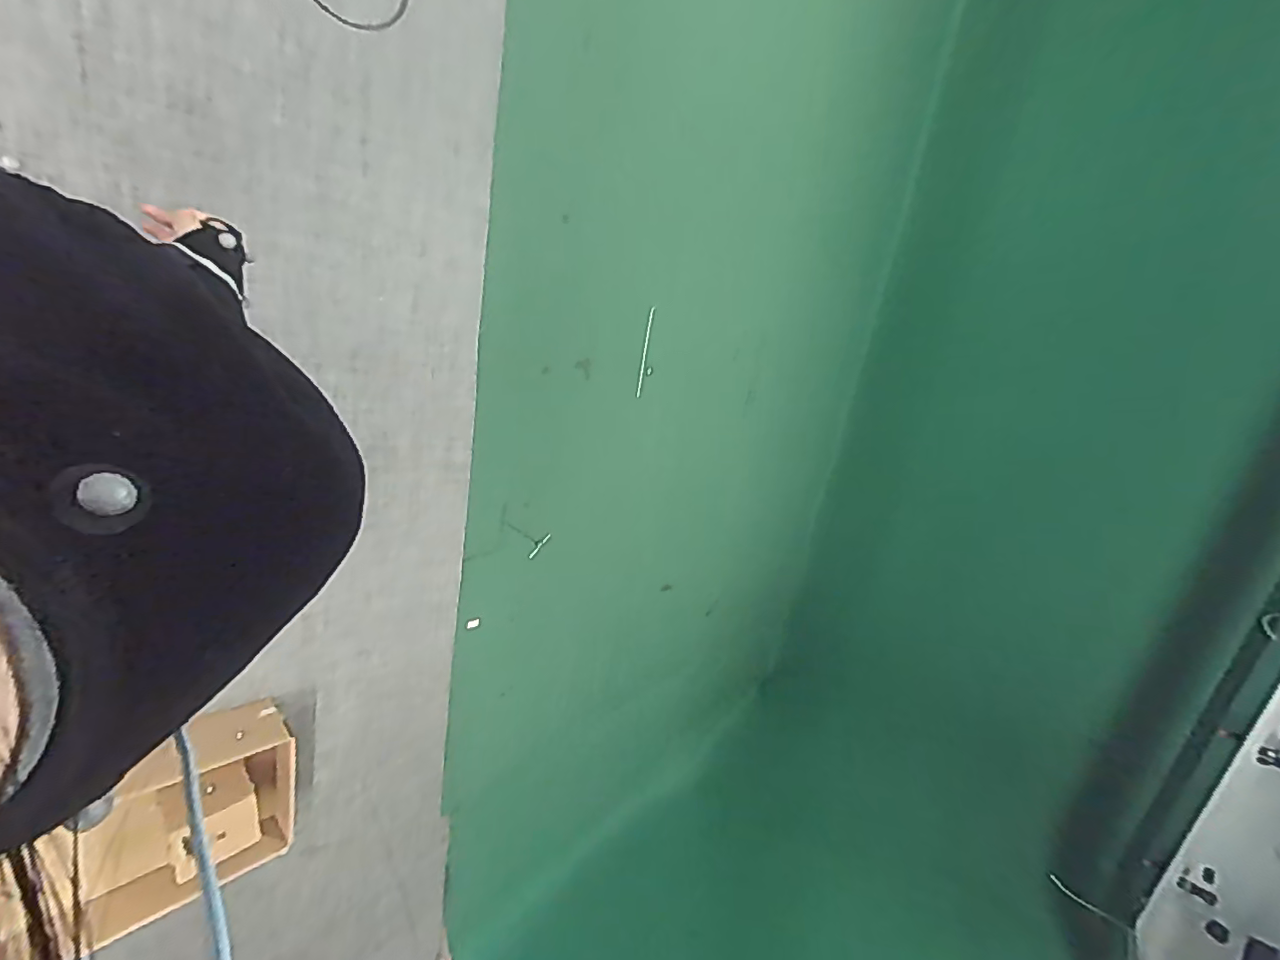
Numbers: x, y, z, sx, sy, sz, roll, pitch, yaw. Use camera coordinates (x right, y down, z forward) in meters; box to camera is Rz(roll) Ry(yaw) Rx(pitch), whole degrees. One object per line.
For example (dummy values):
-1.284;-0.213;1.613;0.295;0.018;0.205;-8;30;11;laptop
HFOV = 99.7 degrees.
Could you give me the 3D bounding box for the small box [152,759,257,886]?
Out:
-1.116;0.864;1.382;0.179;0.176;0.168;-14;119;-50;small box
